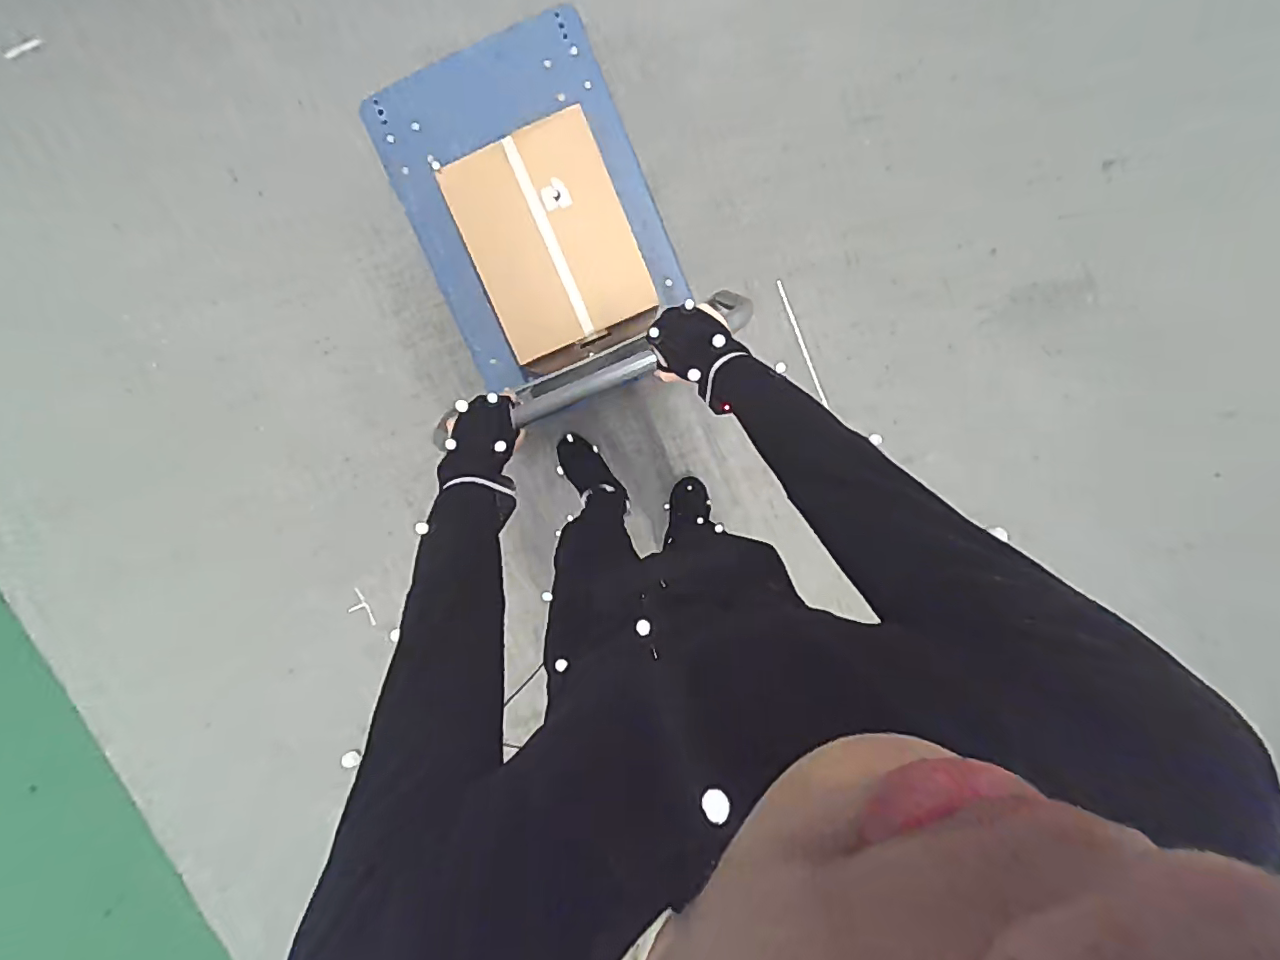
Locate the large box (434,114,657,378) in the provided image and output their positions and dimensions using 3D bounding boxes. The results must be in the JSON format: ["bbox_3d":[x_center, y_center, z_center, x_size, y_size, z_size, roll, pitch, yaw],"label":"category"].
[{"bbox_3d":[-0.181,-0.483,1.212,0.320,0.320,0.408,-24,96,2],"label":"large box"}]
